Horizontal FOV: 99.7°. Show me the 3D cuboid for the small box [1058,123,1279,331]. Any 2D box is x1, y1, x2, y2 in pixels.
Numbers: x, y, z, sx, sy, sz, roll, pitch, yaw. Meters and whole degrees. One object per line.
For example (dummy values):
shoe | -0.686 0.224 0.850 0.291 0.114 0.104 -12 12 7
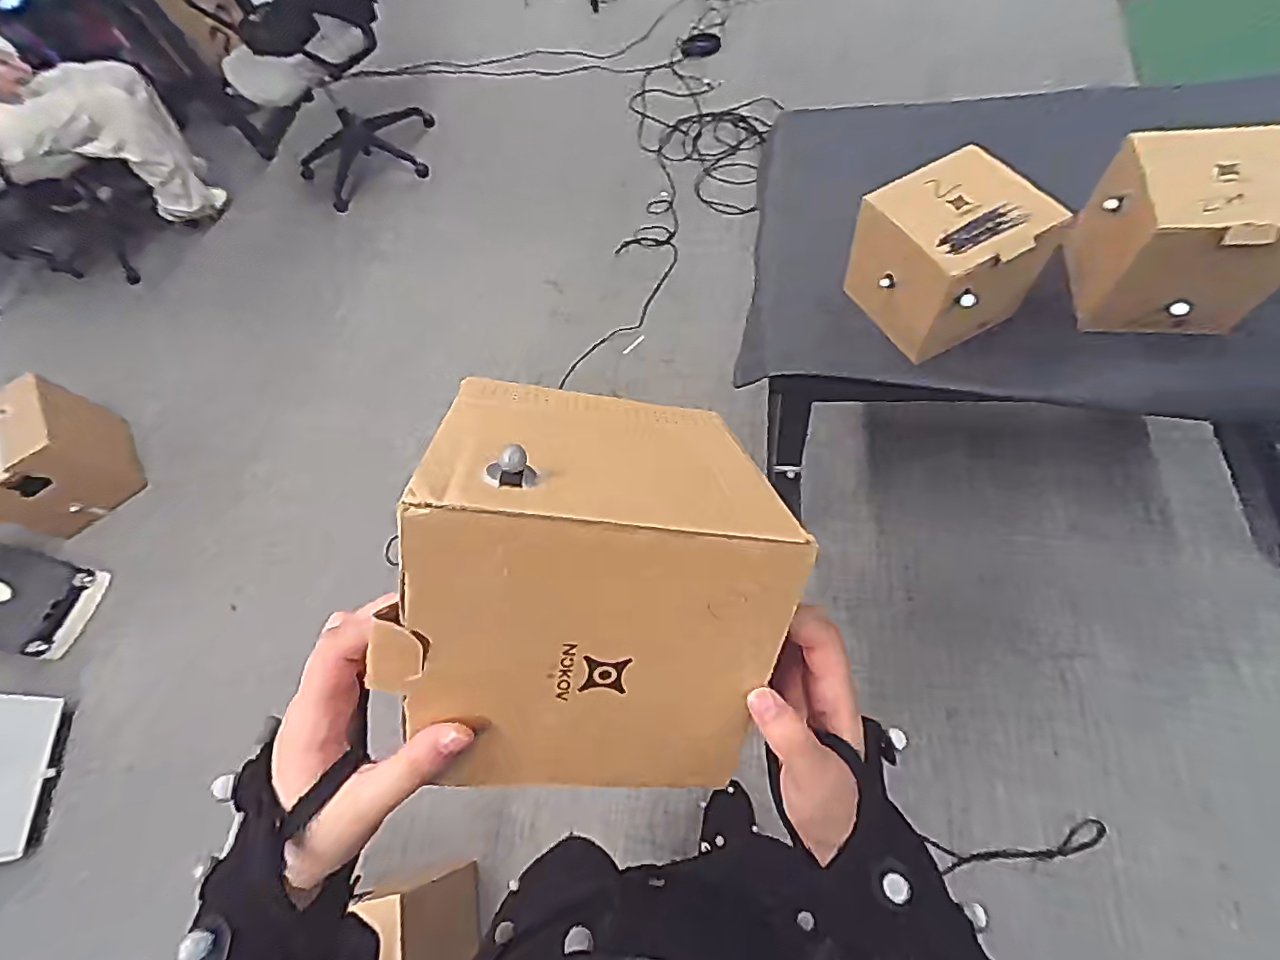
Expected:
small box | 0.674 -0.317 0.694 0.168 0.176 0.179 5 65 15
